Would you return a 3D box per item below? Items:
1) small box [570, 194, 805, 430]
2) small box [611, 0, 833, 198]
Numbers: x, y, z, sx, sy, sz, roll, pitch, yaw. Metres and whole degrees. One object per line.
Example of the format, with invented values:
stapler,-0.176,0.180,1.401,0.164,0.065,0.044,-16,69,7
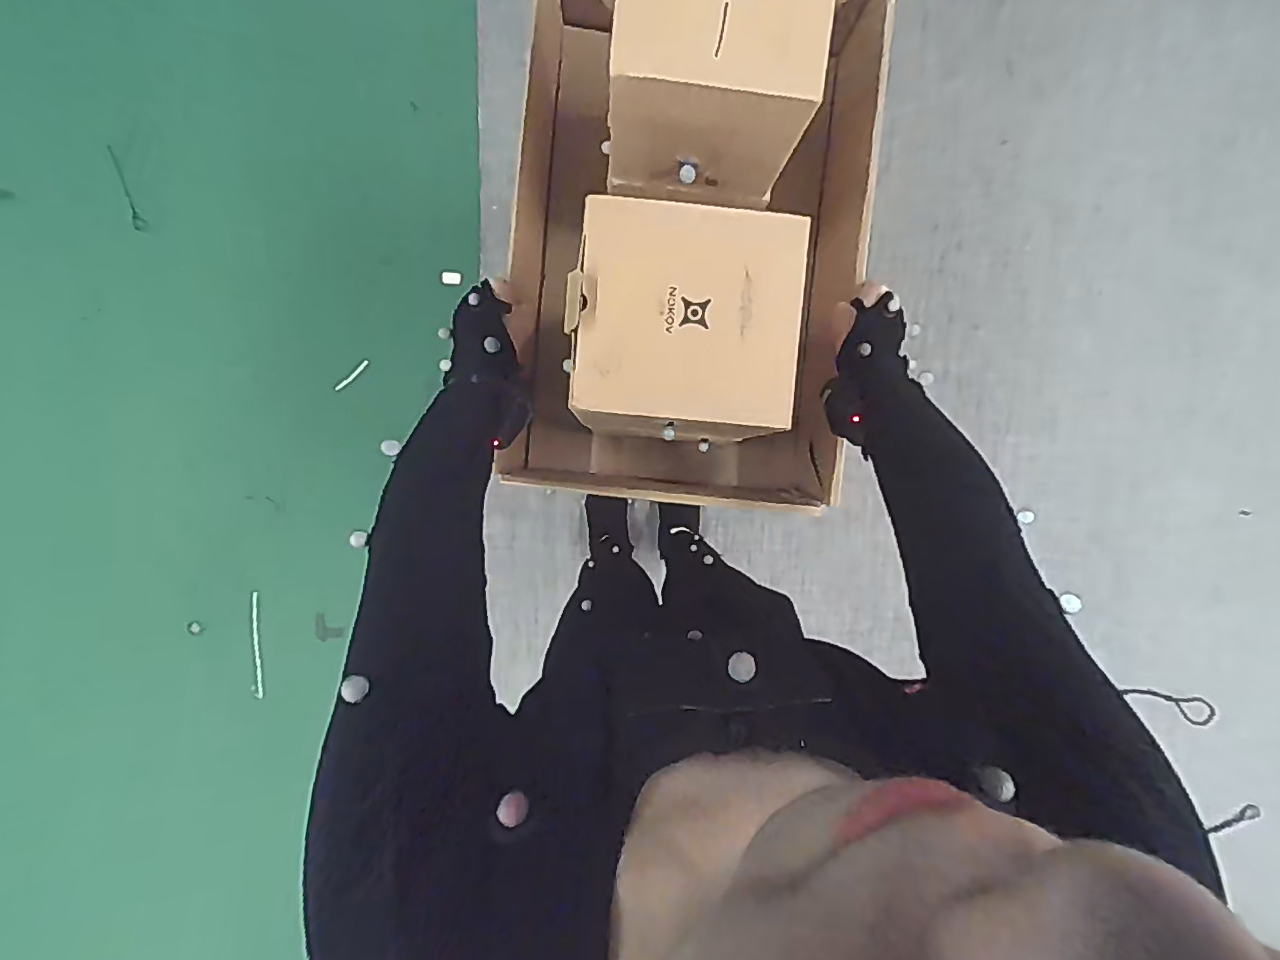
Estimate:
small box,0.034,-0.138,0.506,0.179,0.176,0.168,5,93,-4
small box,0.064,-0.391,0.490,0.168,0.176,0.179,7,95,-3
